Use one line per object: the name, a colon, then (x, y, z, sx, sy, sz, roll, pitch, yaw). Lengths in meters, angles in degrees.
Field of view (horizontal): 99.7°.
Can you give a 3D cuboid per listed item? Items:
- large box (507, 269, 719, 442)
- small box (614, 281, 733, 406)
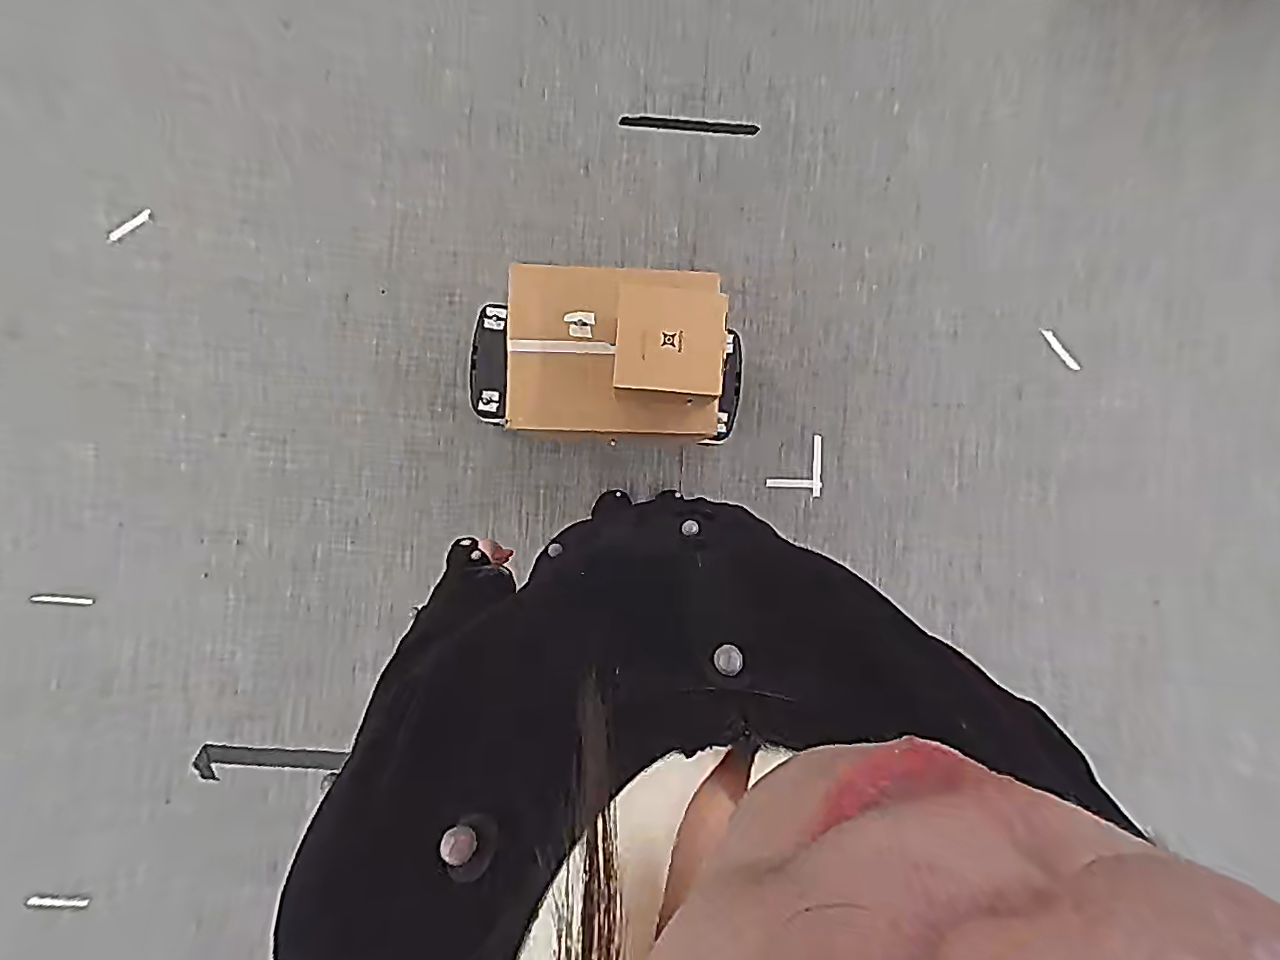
large box: (-0.051, -0.242, 1.166, 0.408, 0.320, 0.320, 1, 89, -2)
small box: (0.050, -0.223, 0.925, 0.179, 0.176, 0.168, 5, 90, -2)
